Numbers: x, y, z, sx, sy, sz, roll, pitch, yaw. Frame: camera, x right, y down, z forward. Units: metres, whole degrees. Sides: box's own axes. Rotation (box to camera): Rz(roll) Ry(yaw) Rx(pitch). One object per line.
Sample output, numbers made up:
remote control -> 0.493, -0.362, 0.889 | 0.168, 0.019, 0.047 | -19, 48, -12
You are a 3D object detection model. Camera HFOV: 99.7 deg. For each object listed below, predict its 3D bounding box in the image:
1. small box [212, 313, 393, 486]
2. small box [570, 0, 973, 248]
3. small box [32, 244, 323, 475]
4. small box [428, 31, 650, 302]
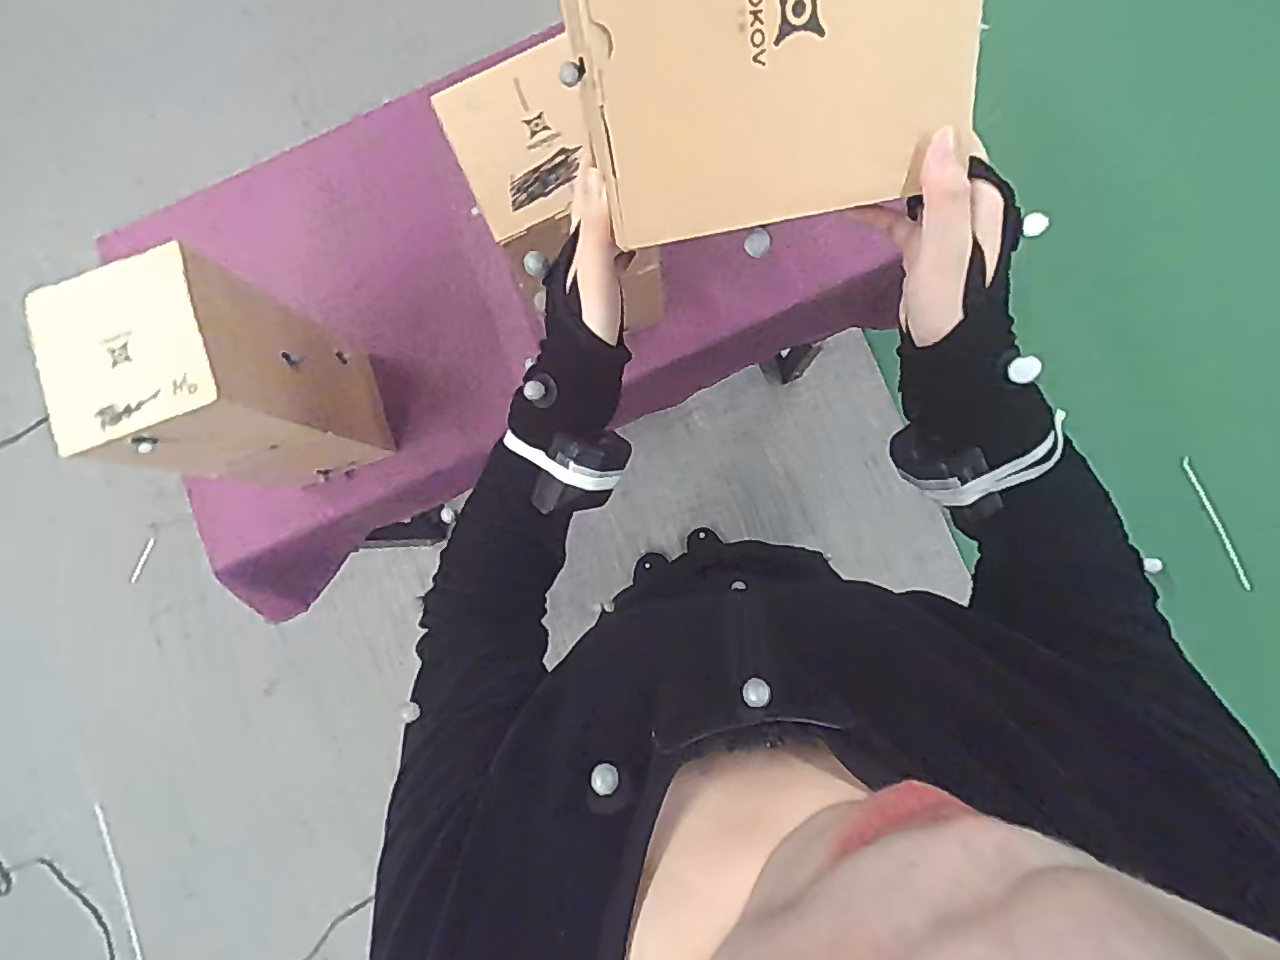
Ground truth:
small box -> -0.487, -0.103, 0.770 | 0.168, 0.176, 0.179 | -20, 84, 2
small box -> 0.056, -0.238, 0.308 | 0.179, 0.176, 0.168 | -10, 116, 1
small box -> -0.498, -0.120, 0.606 | 0.168, 0.176, 0.179 | -20, 82, 3
small box -> -0.097, -0.324, 0.602 | 0.168, 0.176, 0.179 | -25, 82, 1
